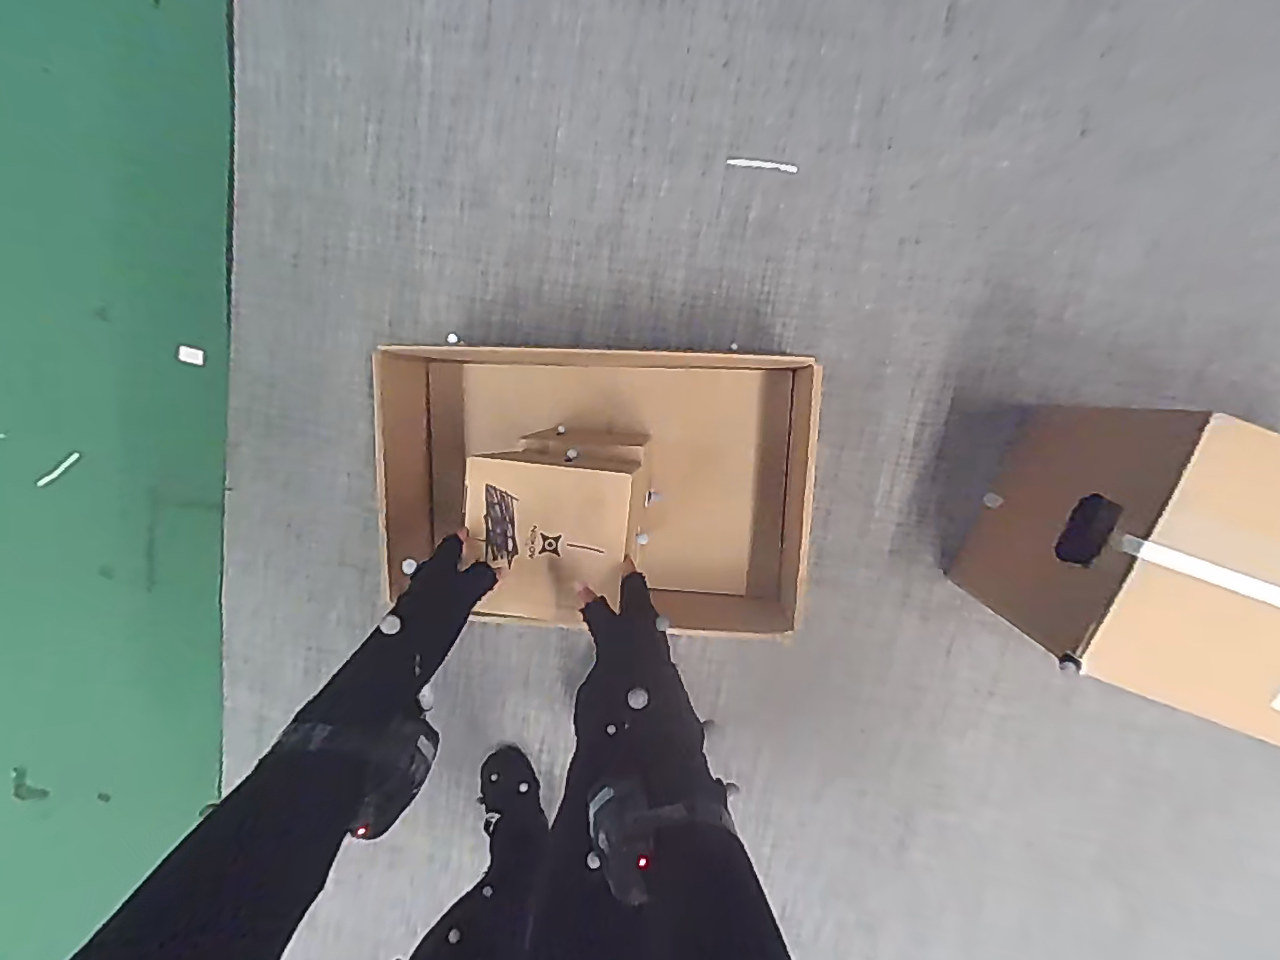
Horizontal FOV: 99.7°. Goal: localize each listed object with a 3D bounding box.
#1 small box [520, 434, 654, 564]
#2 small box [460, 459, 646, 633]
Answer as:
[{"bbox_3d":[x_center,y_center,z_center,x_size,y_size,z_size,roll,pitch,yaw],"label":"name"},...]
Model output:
[{"bbox_3d":[-0.074,0.021,0.821,0.179,0.176,0.168,3,100,4],"label":"small box"},{"bbox_3d":[-0.092,0.065,0.644,0.179,0.176,0.168,6,95,4],"label":"small box"}]
